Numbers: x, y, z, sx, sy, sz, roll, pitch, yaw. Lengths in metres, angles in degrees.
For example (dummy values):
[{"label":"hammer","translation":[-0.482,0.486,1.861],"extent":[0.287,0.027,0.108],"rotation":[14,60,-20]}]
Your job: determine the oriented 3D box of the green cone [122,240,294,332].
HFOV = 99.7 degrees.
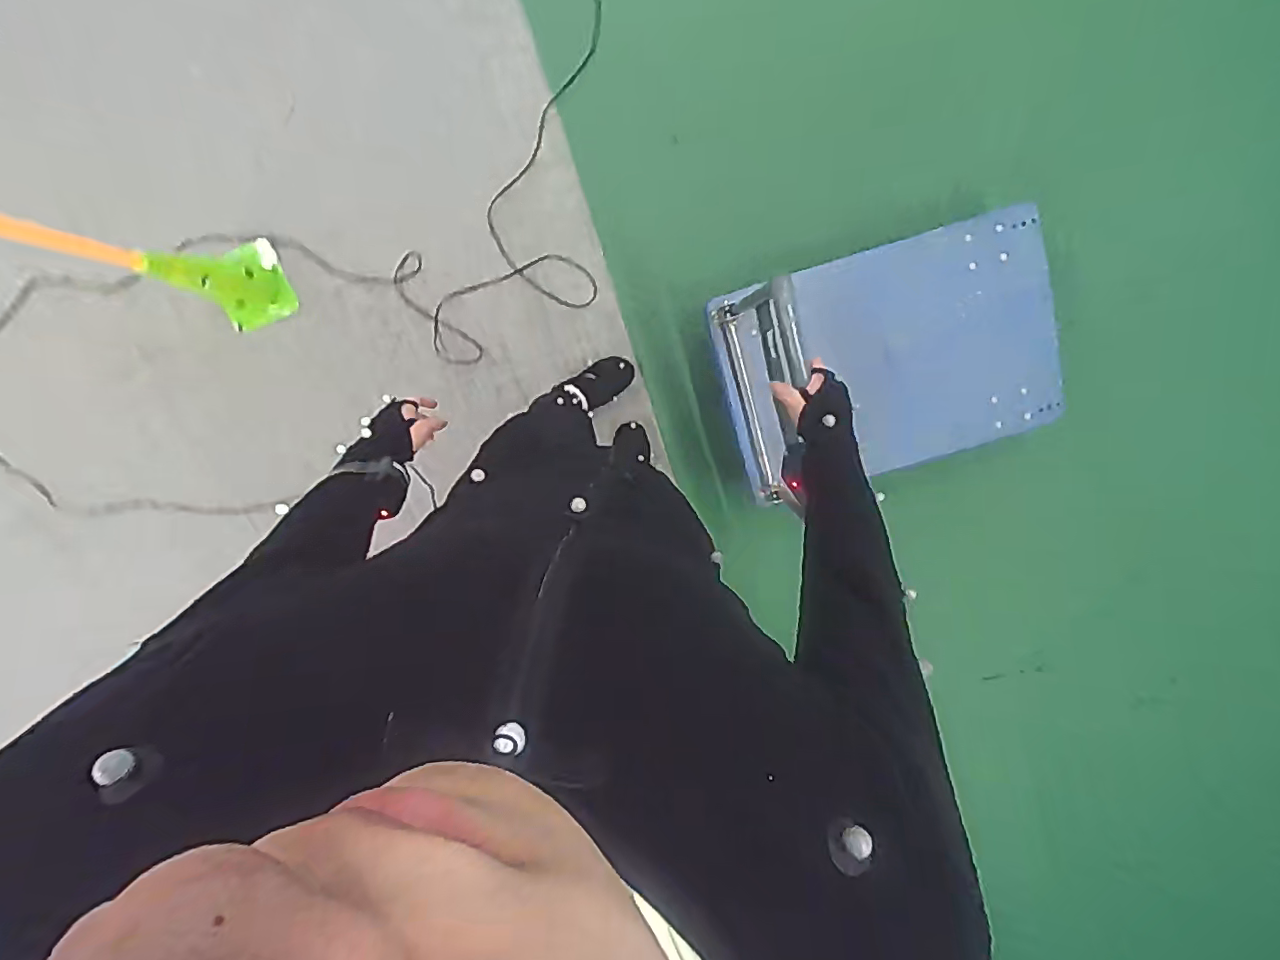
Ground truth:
[{"label":"green cone","translation":[-1.080,-0.505,1.326],"extent":[0.200,0.368,0.202],"rotation":[-22,99,3]}]
